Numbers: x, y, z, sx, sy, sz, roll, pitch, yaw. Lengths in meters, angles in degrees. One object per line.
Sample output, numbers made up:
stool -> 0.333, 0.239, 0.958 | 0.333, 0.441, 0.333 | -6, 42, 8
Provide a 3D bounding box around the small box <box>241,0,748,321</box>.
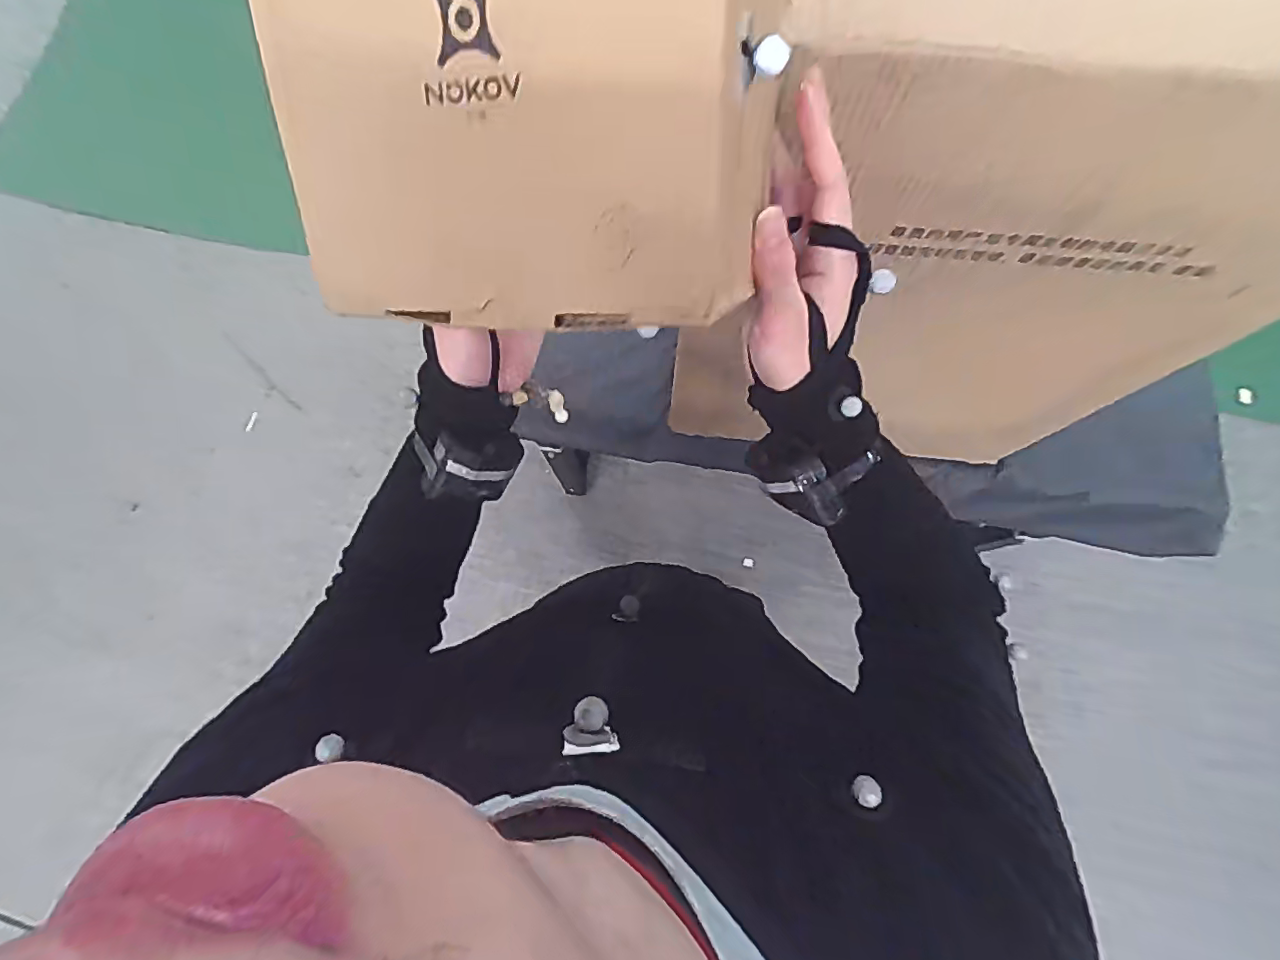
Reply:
small box -> -0.043, -0.176, 0.256 | 0.168, 0.176, 0.179 | 6, 113, 17
